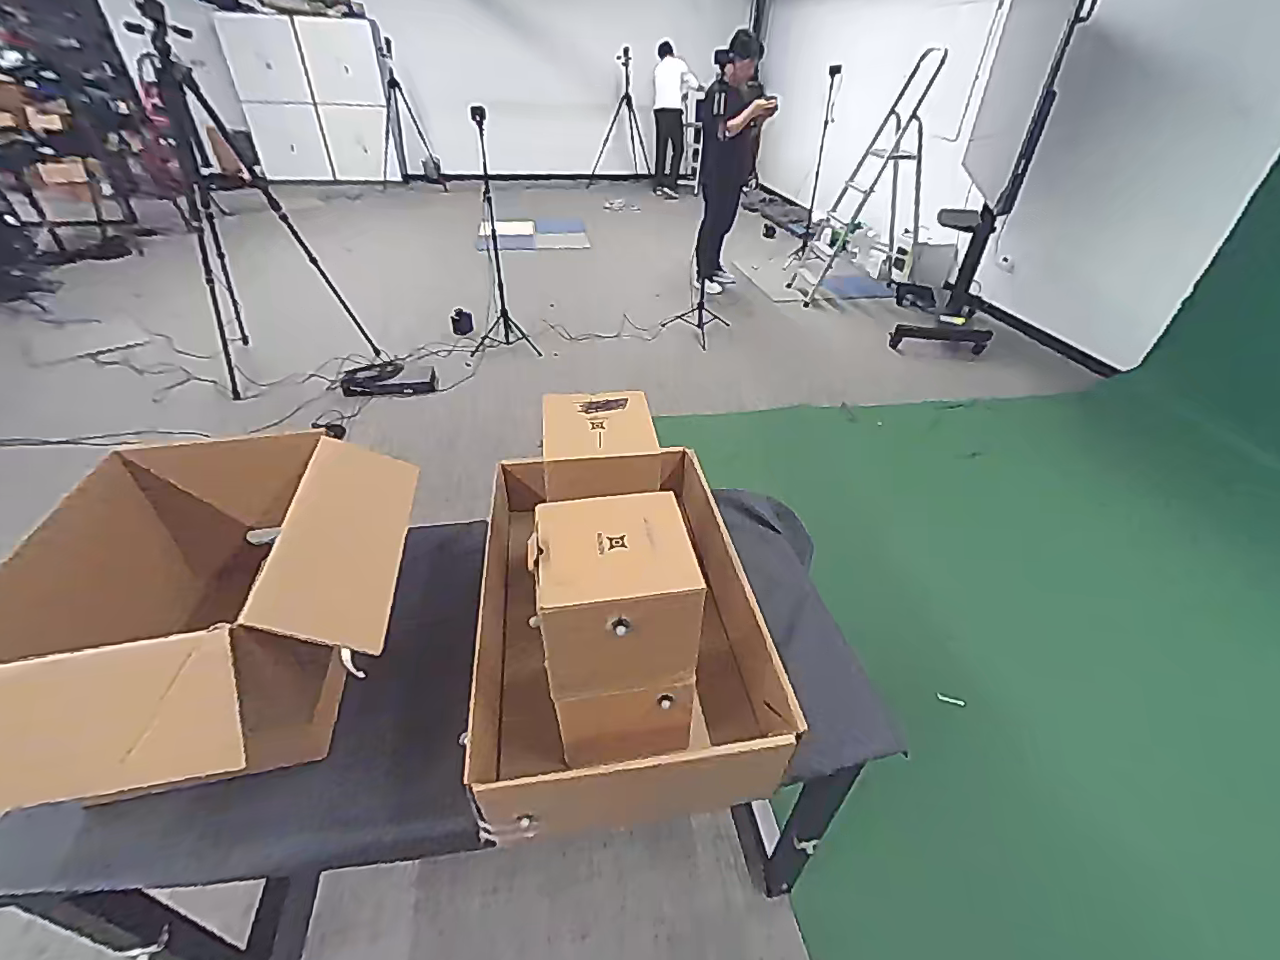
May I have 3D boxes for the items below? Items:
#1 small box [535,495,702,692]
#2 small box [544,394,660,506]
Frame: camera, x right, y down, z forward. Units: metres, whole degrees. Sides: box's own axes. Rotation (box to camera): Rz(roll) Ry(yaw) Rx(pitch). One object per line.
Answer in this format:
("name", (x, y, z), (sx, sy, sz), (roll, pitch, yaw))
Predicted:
("small box", (-0.032, 0.140, 0.667), (0.179, 0.176, 0.168), (-5, 39, -9))
("small box", (-0.066, -0.020, 0.863), (0.168, 0.176, 0.179), (-3, 41, -7))
